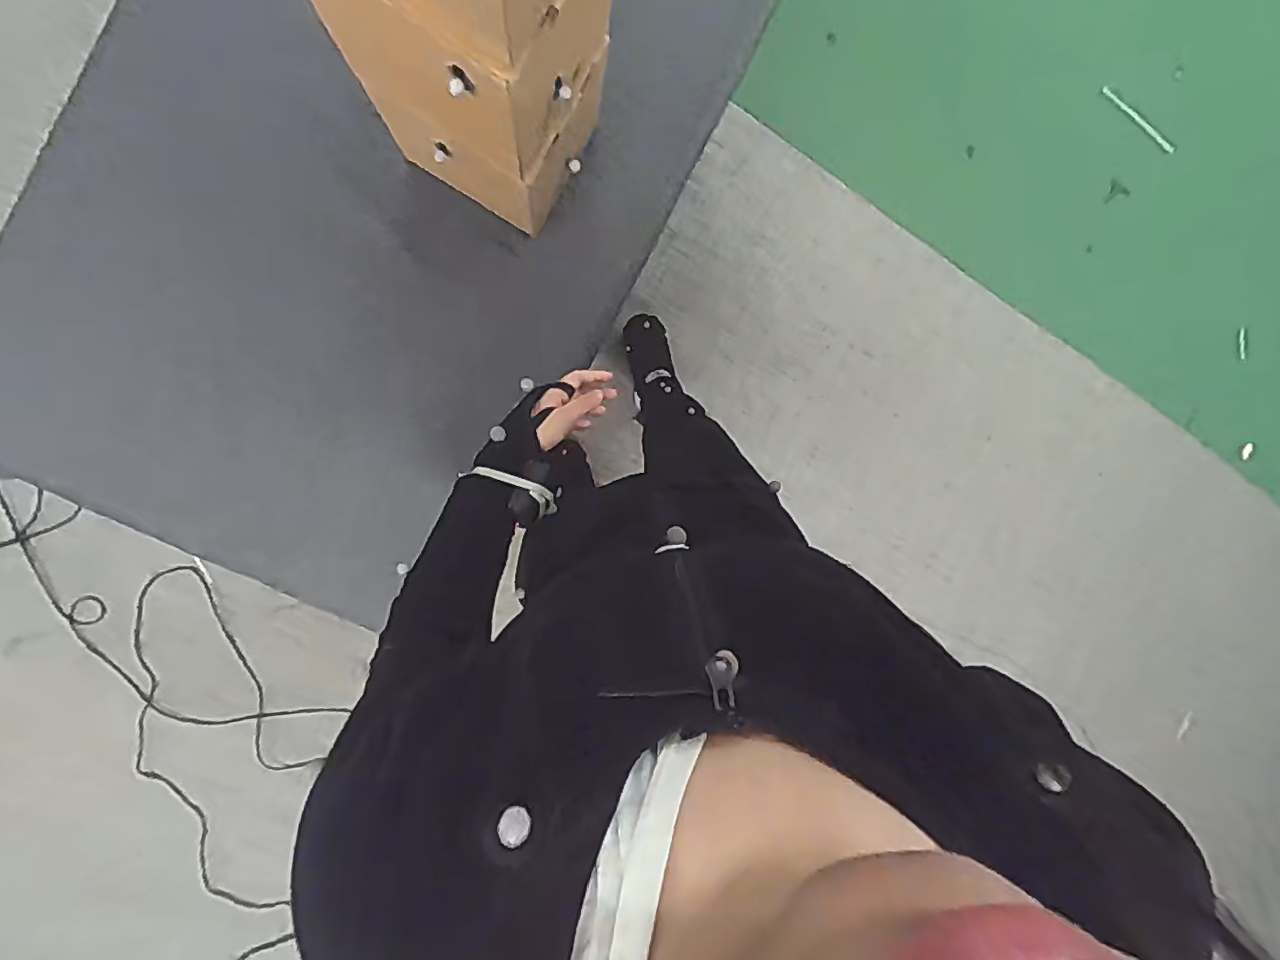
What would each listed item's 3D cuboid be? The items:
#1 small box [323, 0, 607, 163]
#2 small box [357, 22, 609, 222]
[{"bbox_3d":[-0.132,-0.388,0.415,0.179,0.176,0.168,29,92,-13],"label":"small box"},{"bbox_3d":[-0.155,-0.409,0.573,0.179,0.176,0.168,29,93,-13],"label":"small box"}]
